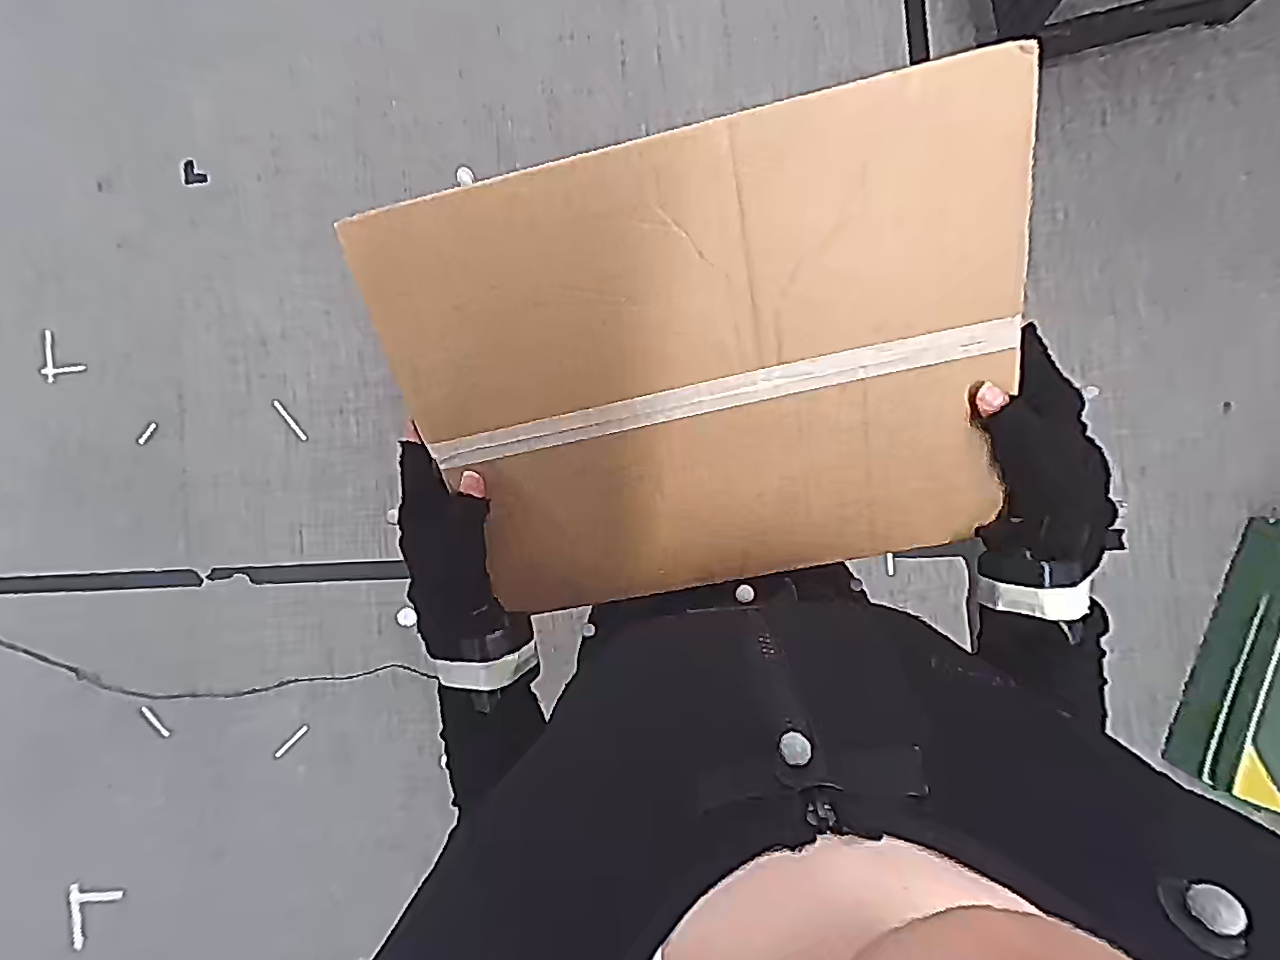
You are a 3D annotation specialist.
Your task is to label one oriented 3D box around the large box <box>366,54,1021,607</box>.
[{"bbox_3d":[0.051,-0.125,0.514,0.408,0.320,0.320,-11,116,6],"label":"large box"}]
